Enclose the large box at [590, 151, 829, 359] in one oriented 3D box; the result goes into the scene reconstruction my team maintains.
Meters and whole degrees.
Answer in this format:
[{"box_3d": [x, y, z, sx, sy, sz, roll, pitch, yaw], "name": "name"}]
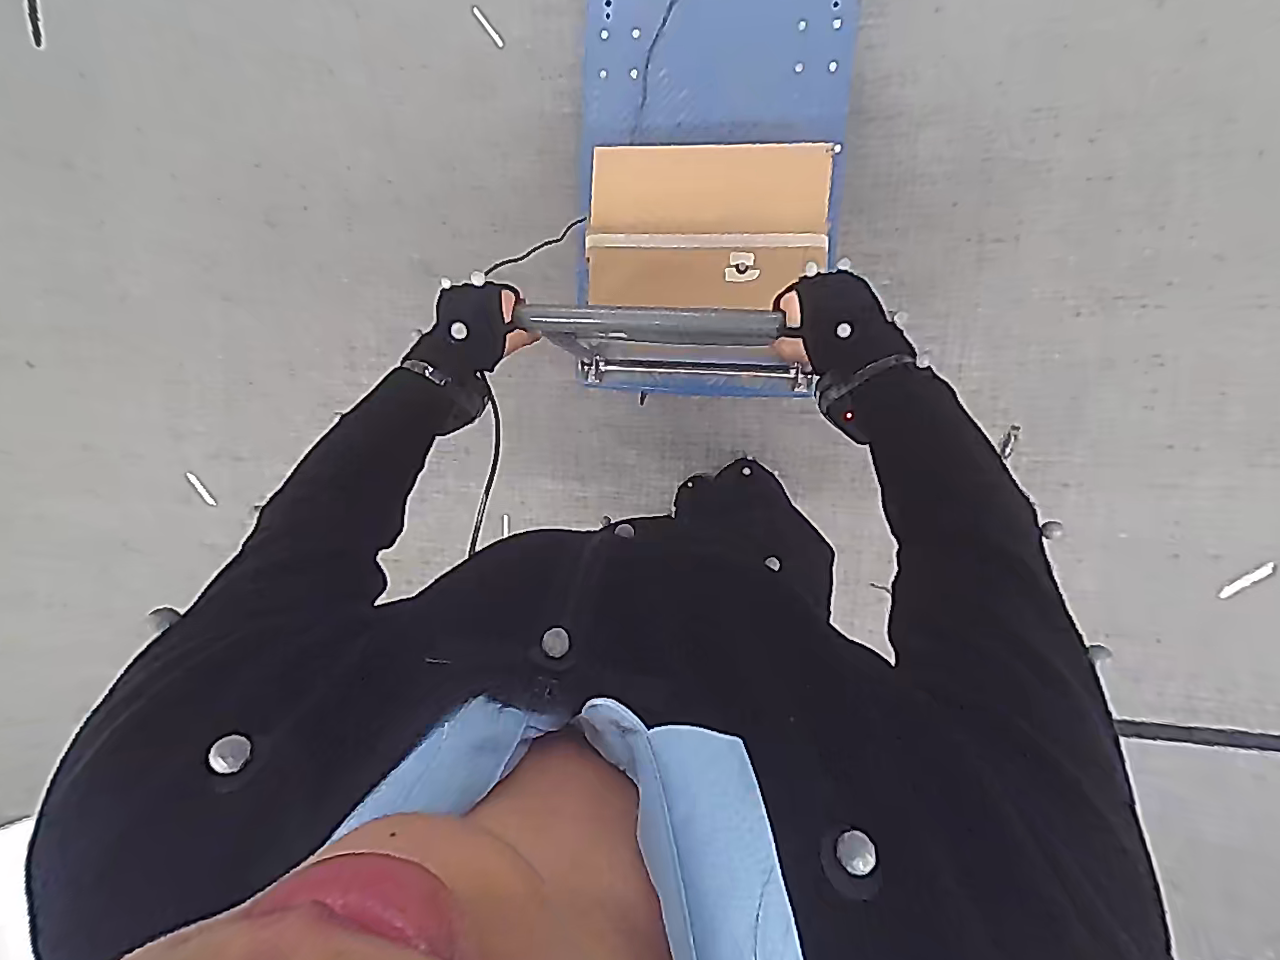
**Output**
[{"box_3d": [0.128, -0.418, 1.079, 0.408, 0.320, 0.320, 4, 98, 7], "name": "large box"}]
